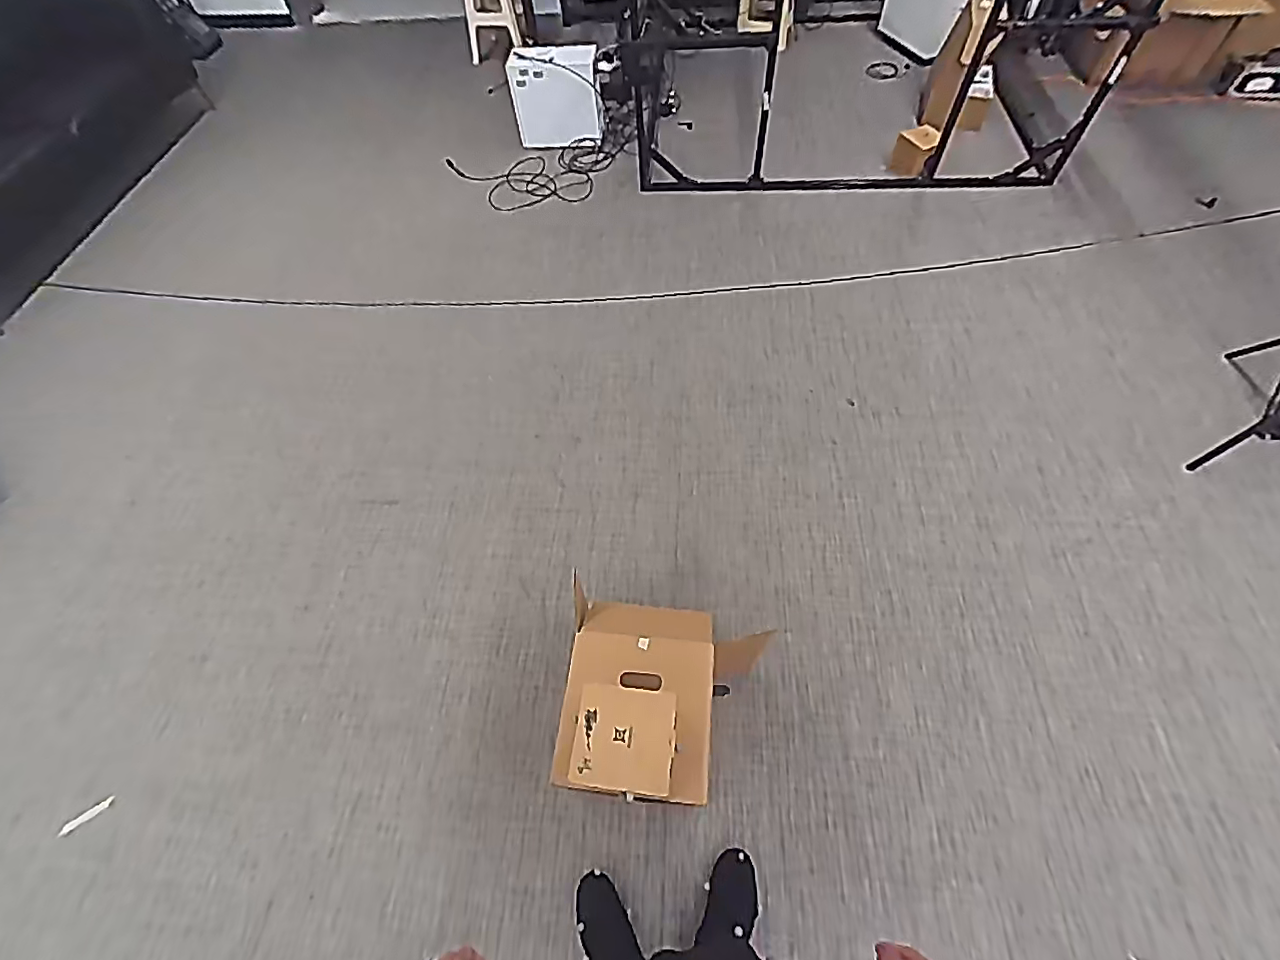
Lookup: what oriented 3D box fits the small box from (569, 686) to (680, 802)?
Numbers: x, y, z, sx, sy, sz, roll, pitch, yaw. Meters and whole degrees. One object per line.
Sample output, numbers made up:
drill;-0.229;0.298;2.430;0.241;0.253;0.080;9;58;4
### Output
small box;-0.022;0.499;1.022;0.179;0.176;0.168;6;60;6
